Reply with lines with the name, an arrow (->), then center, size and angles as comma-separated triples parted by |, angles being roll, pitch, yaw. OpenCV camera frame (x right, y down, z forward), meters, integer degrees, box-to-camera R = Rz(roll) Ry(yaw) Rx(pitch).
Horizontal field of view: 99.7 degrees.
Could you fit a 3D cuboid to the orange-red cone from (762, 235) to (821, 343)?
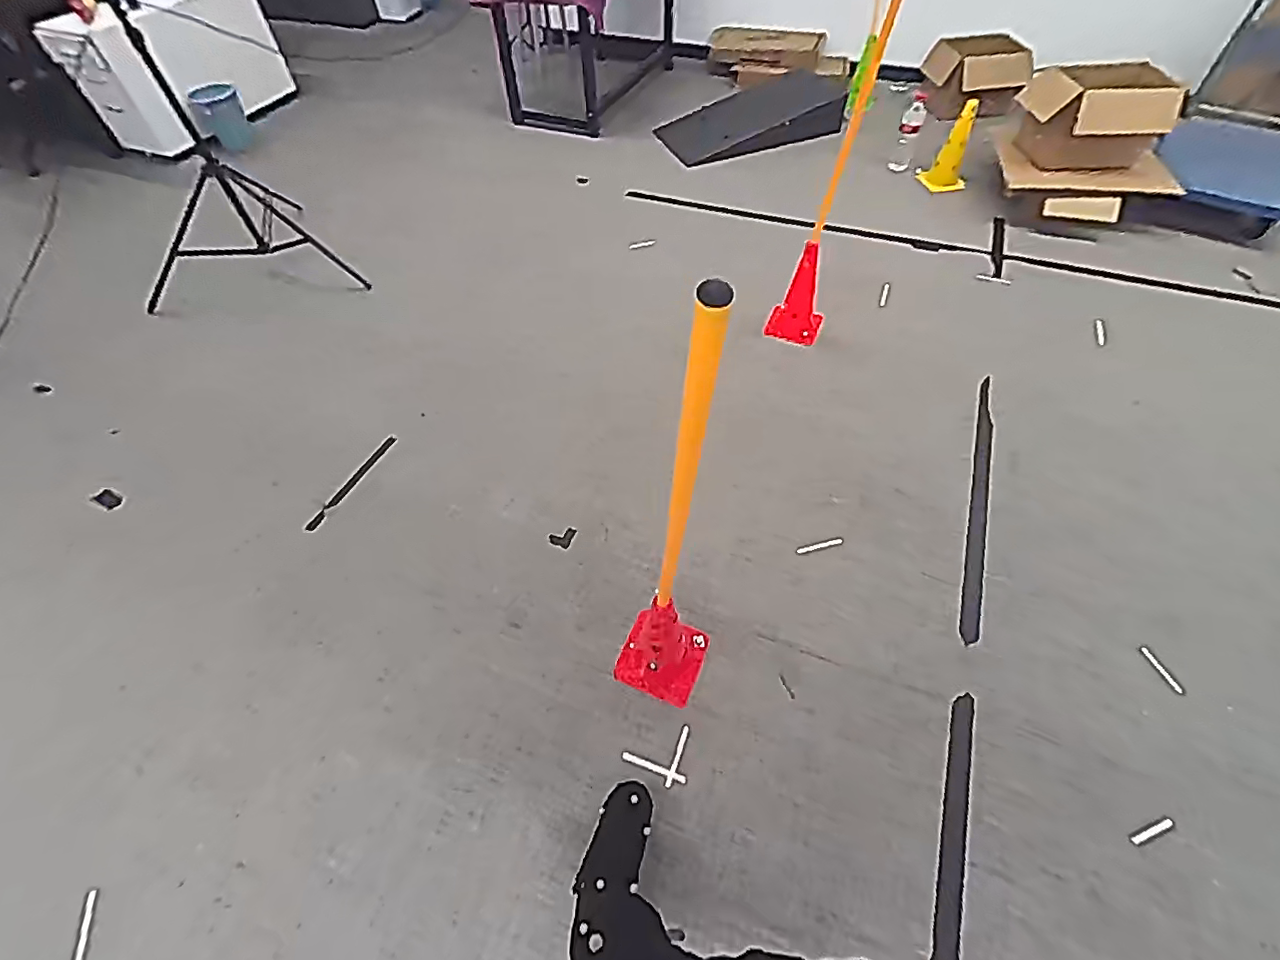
orange-red cone -> 0.594, -0.722, 1.984 | 0.198, 0.360, 0.199 | 21, 57, 15
